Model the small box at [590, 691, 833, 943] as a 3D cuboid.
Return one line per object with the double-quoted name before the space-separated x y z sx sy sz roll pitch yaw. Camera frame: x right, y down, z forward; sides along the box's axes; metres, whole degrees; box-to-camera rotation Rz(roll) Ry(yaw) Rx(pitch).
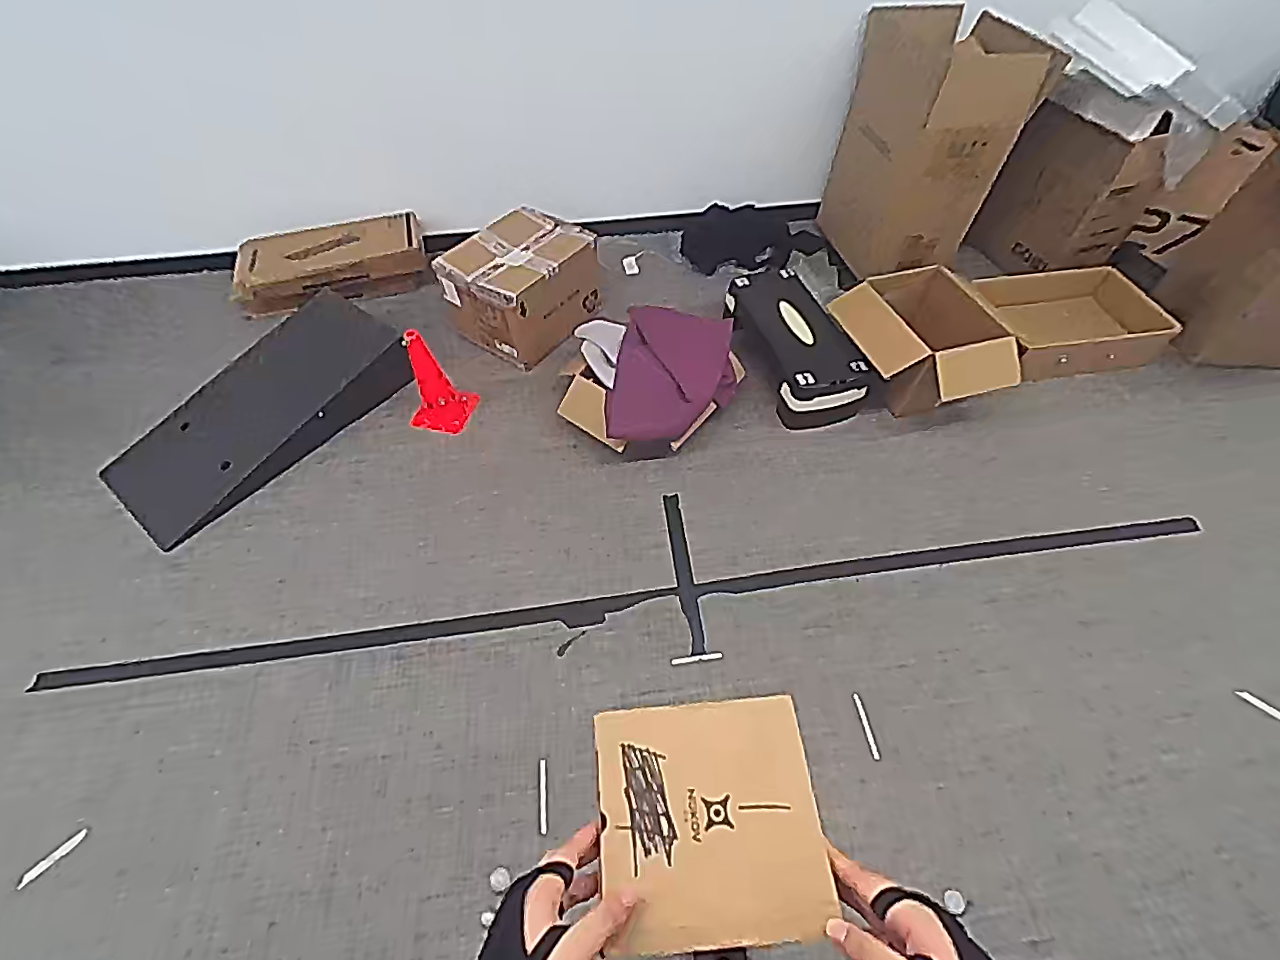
"small box" 0.053 0.307 0.495 0.179 0.176 0.168 -6 54 0
